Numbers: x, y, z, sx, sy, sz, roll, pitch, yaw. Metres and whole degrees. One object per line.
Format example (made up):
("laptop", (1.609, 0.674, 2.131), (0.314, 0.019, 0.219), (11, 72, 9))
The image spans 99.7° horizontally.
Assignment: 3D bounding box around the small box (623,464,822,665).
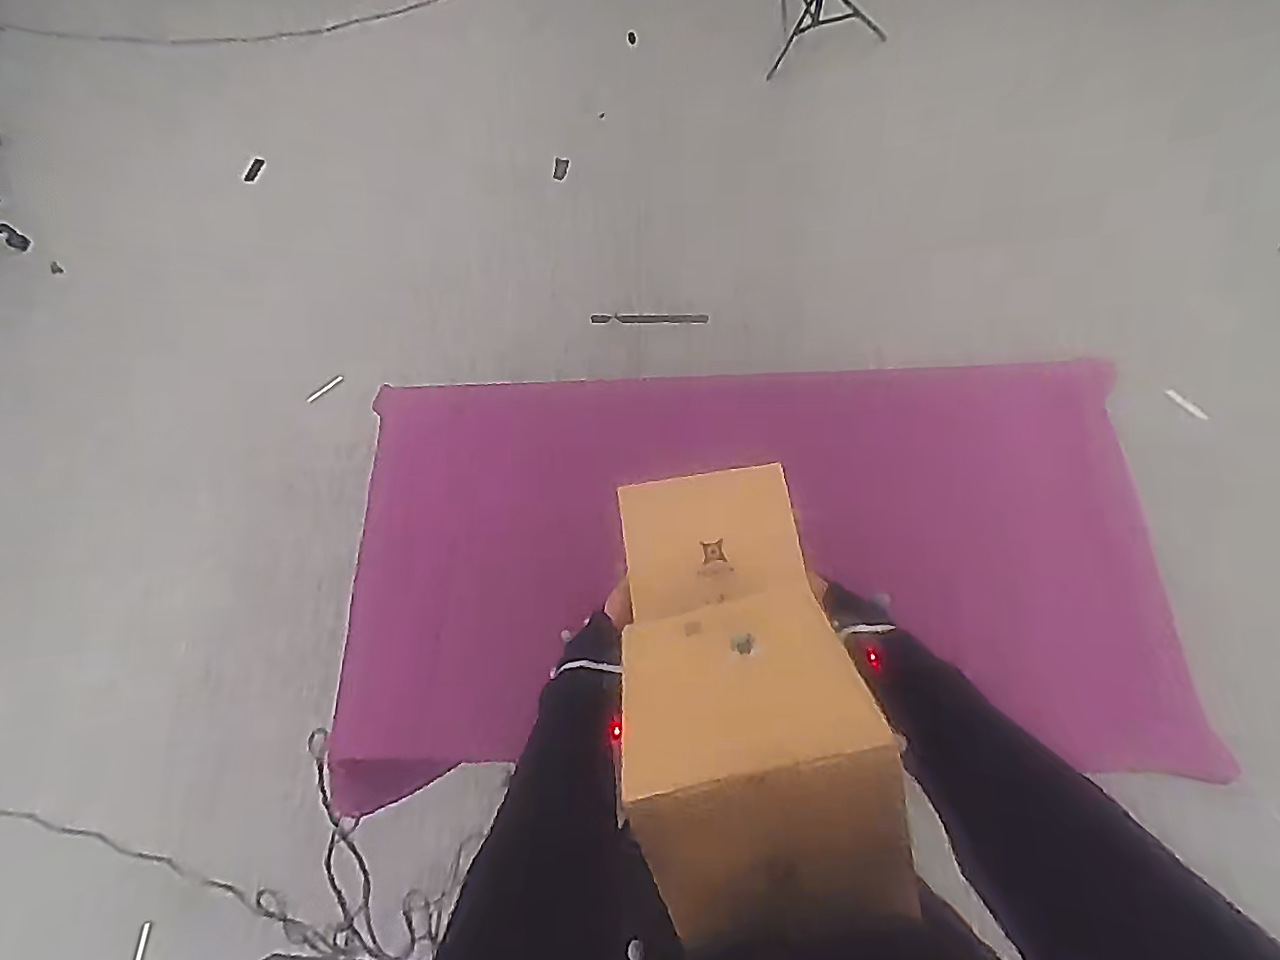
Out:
("small box", (0.078, 0.100, 0.583), (0.168, 0.176, 0.179), (-8, 72, 3))
